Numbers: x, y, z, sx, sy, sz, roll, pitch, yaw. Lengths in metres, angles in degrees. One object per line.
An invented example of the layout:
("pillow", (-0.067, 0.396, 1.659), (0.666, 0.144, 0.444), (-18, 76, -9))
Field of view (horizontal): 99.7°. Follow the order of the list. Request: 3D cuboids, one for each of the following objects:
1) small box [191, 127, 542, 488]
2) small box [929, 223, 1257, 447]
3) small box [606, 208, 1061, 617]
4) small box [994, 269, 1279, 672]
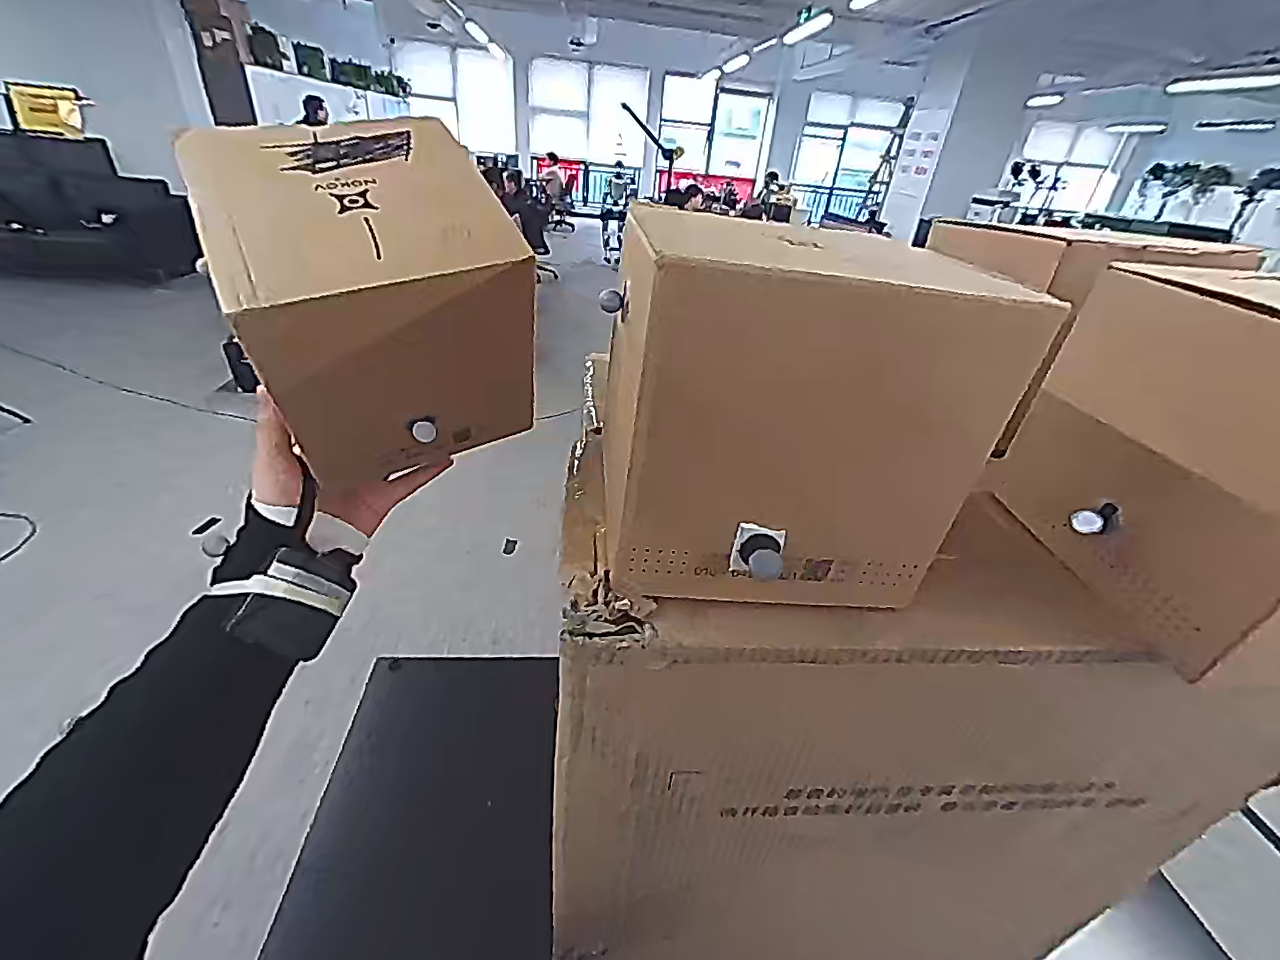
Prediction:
("small box", (-0.184, -0.125, 0.397), (0.168, 0.176, 0.179), (-21, 63, -23))
("small box", (0.368, -0.137, 0.506), (0.168, 0.176, 0.179), (0, 29, -6))
("small box", (0.070, -0.045, 0.314), (0.168, 0.176, 0.179), (3, 33, -7))
("small box", (0.355, -0.008, 0.305), (0.168, 0.176, 0.179), (1, 34, -6))
